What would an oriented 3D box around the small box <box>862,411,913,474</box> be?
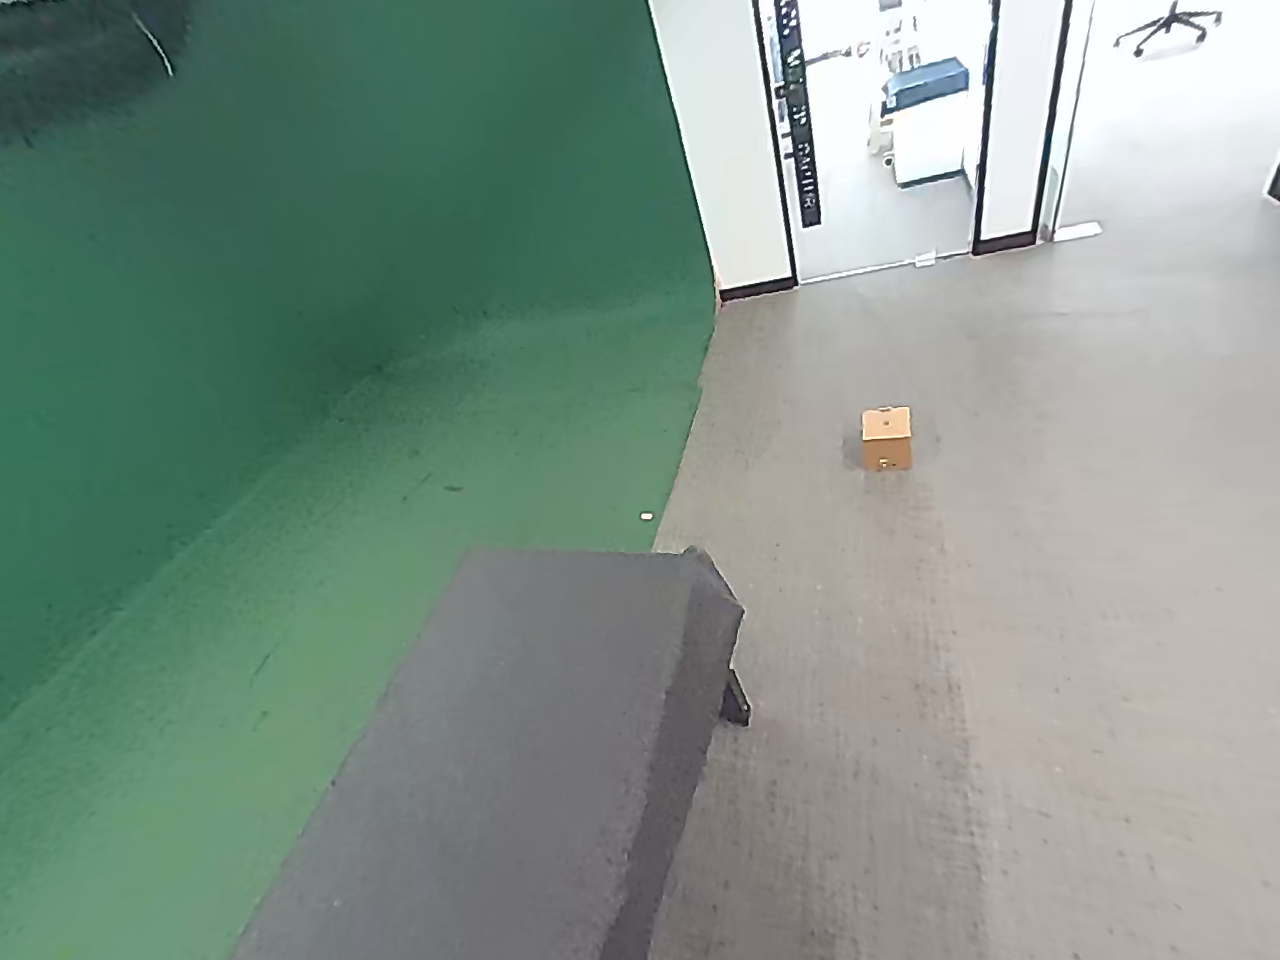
[{"bbox_3d":[0.947,-0.140,2.061,0.168,0.176,0.179,-2,44,28],"label":"small box"}]
